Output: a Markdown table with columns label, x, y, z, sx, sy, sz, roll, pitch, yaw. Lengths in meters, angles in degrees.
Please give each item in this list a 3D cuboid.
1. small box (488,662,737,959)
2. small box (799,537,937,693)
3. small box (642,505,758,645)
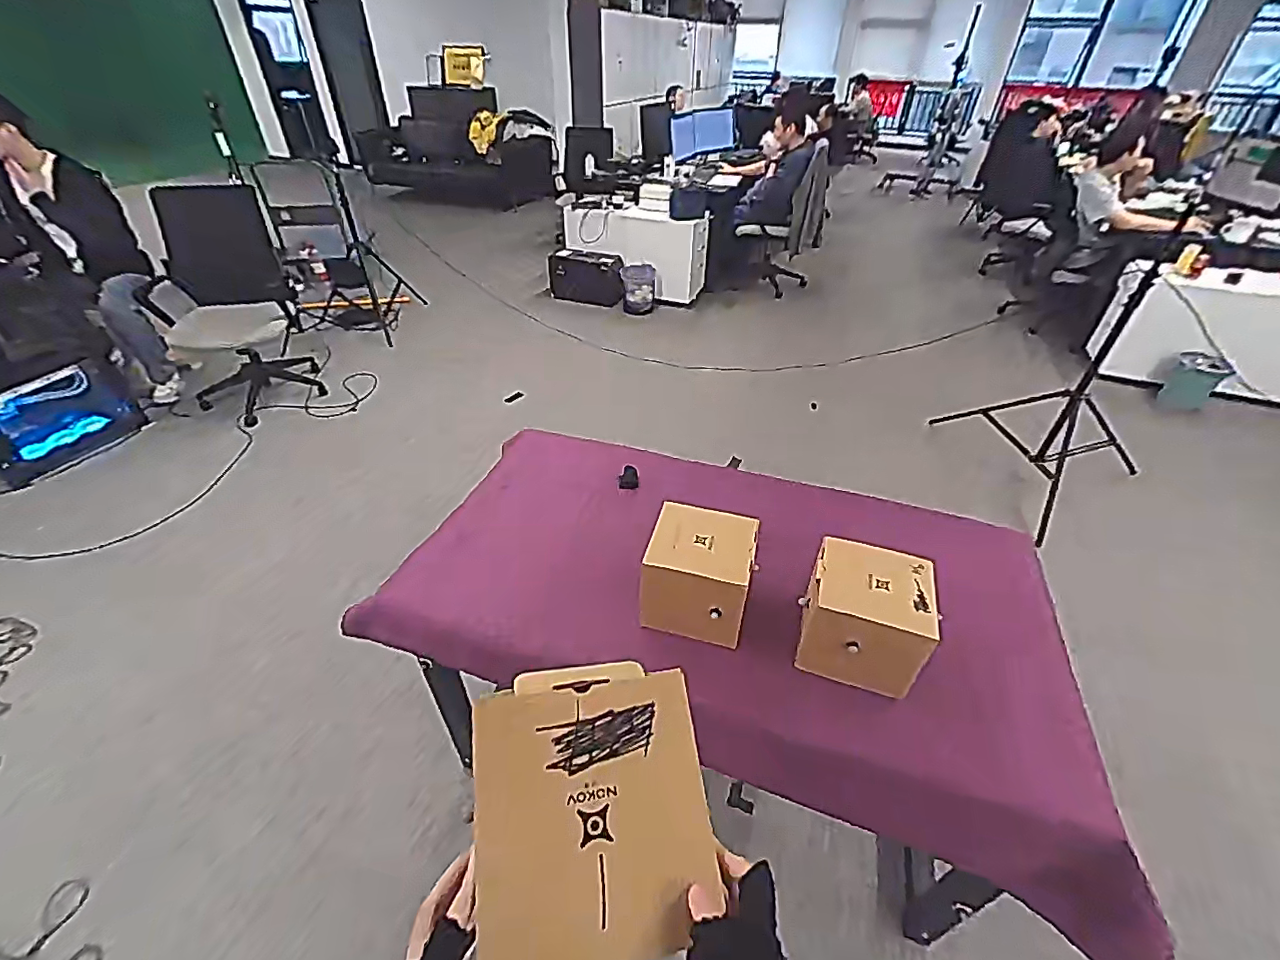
| label | x | y | z | sx | sy | sz | roll | pitch | yaw |
| --- | --- | --- | --- | --- | --- | --- | --- | --- | --- |
| small box | -0.041 | 0.267 | 0.453 | 0.168 | 0.176 | 0.179 | -2 | 61 | -14 |
| small box | 0.373 | 0.225 | 0.904 | 0.179 | 0.176 | 0.168 | 12 | 40 | 16 |
| small box | 0.107 | 0.171 | 0.971 | 0.179 | 0.176 | 0.168 | 9 | 37 | 12 |
